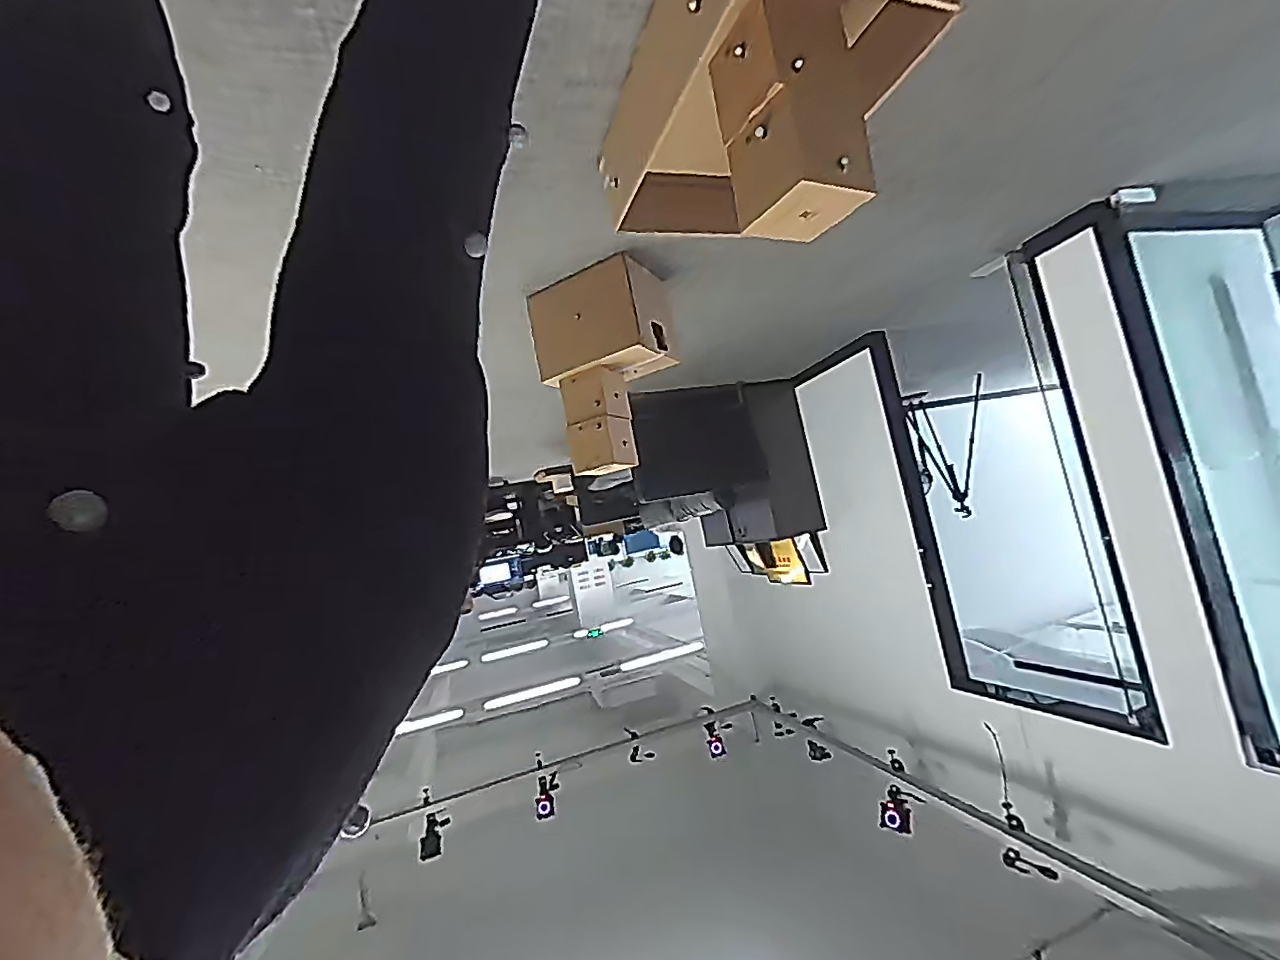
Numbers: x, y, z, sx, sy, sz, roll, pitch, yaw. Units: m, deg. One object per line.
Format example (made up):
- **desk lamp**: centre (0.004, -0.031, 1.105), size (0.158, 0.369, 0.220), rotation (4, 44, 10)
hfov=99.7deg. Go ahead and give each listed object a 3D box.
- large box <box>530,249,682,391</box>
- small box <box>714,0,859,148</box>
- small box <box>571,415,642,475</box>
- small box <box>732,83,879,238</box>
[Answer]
- **large box**: centre (-0.119, -0.536, 1.897), size (0.408, 0.320, 0.320), rotation (-16, 174, 29)
- **small box**: centre (0.254, -0.715, 0.961), size (0.179, 0.176, 0.168), rotation (-8, 177, -24)
- **small box**: centre (-0.118, -0.120, 1.861), size (0.168, 0.176, 0.179), rotation (-14, 175, 27)
- **small box**: centre (0.287, -0.555, 0.956), size (0.179, 0.176, 0.168), rotation (-8, 176, -27)
